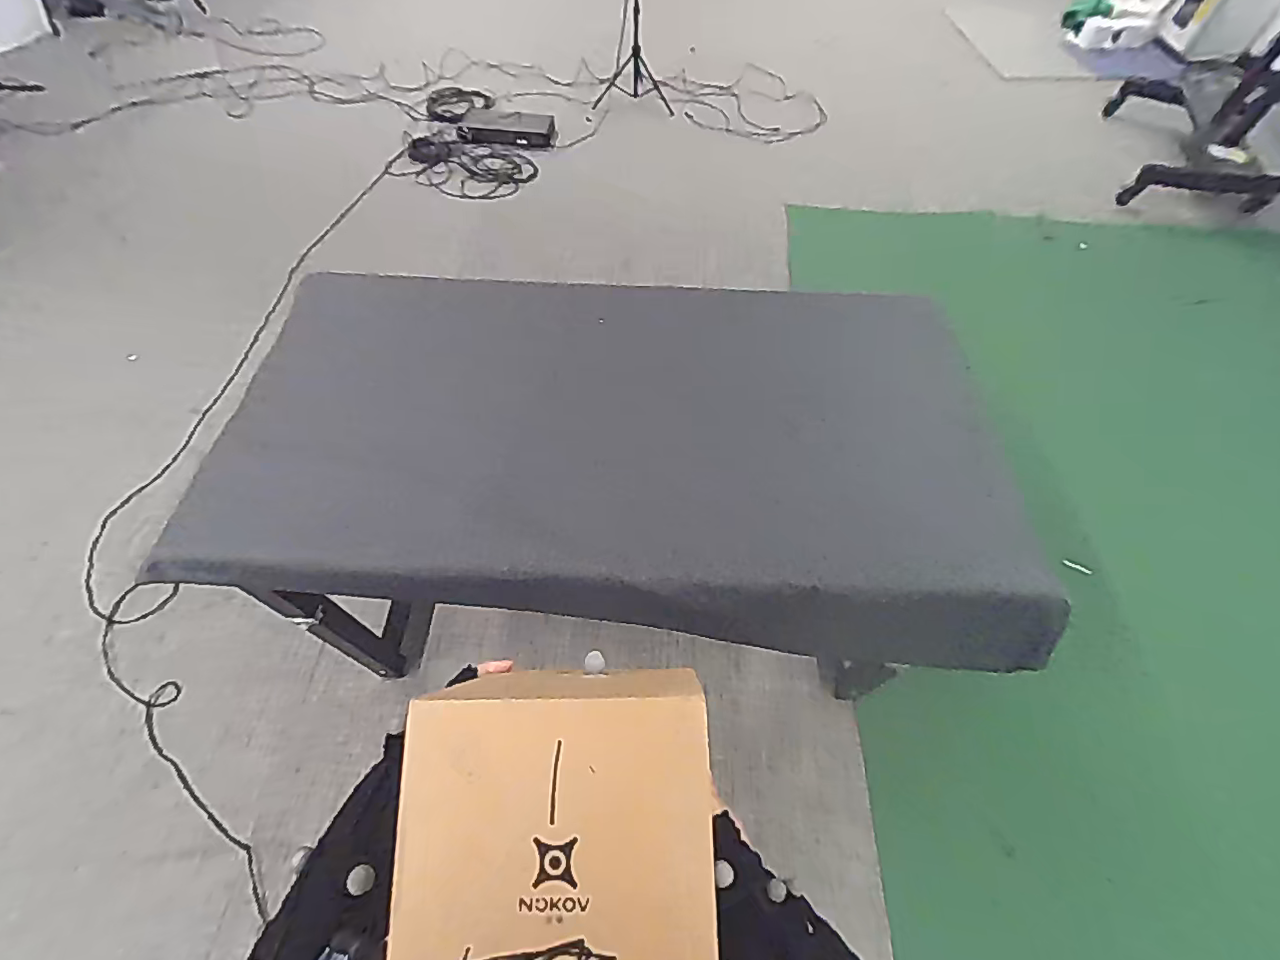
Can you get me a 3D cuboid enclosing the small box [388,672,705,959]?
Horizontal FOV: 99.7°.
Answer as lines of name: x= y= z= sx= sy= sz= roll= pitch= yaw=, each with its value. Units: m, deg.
small box: x=-0.042 y=0.229 z=0.360 sx=0.168 sy=0.176 sz=0.179 roll=0 pitch=74 yaw=3
